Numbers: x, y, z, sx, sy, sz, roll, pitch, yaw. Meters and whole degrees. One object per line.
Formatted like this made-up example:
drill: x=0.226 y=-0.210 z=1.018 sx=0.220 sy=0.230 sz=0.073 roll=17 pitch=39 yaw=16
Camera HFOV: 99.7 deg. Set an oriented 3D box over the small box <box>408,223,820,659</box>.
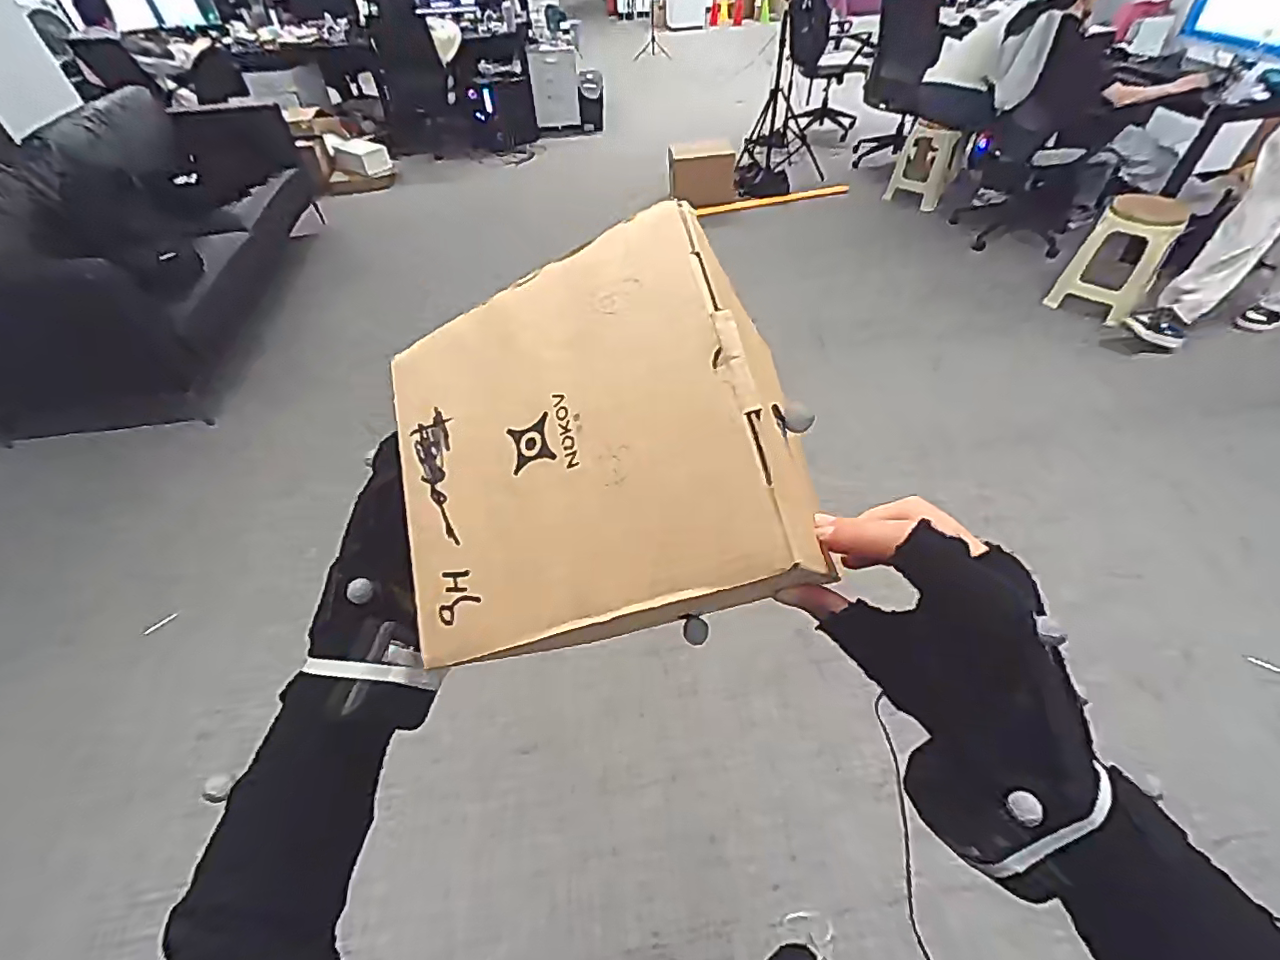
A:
small box: x=-0.003 y=-0.002 z=0.322 sx=0.179 sy=0.176 sz=0.168 roll=-20 pitch=71 yaw=20
